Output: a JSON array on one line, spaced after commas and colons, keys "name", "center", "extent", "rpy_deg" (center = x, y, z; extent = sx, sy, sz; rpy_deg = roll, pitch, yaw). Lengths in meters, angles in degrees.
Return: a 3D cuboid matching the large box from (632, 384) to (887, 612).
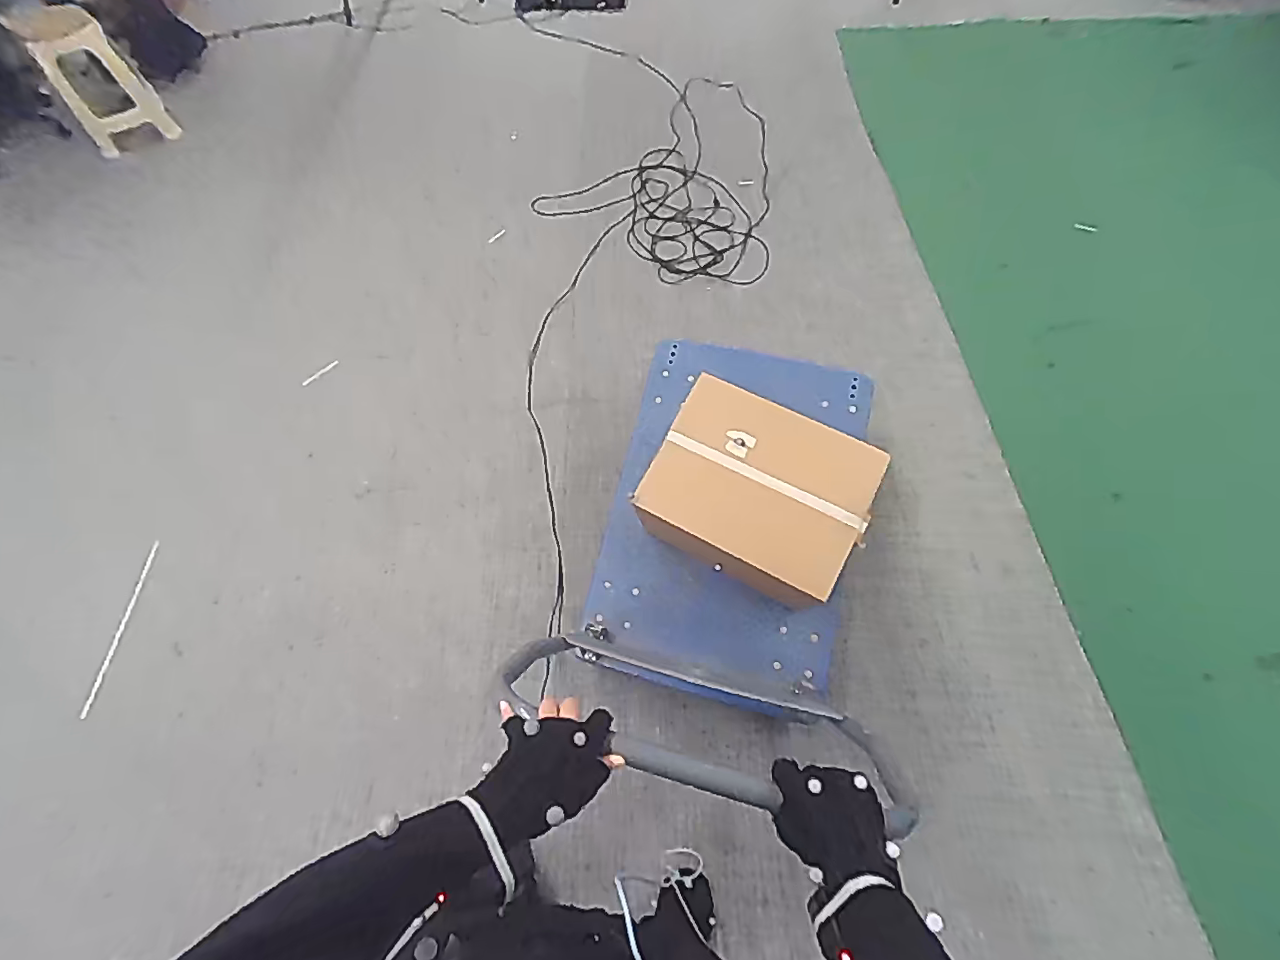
[{"name": "large box", "center": [0.246, 0.057, 1.178], "extent": [0.408, 0.320, 0.320], "rpy_deg": [27, 78, 14]}]
